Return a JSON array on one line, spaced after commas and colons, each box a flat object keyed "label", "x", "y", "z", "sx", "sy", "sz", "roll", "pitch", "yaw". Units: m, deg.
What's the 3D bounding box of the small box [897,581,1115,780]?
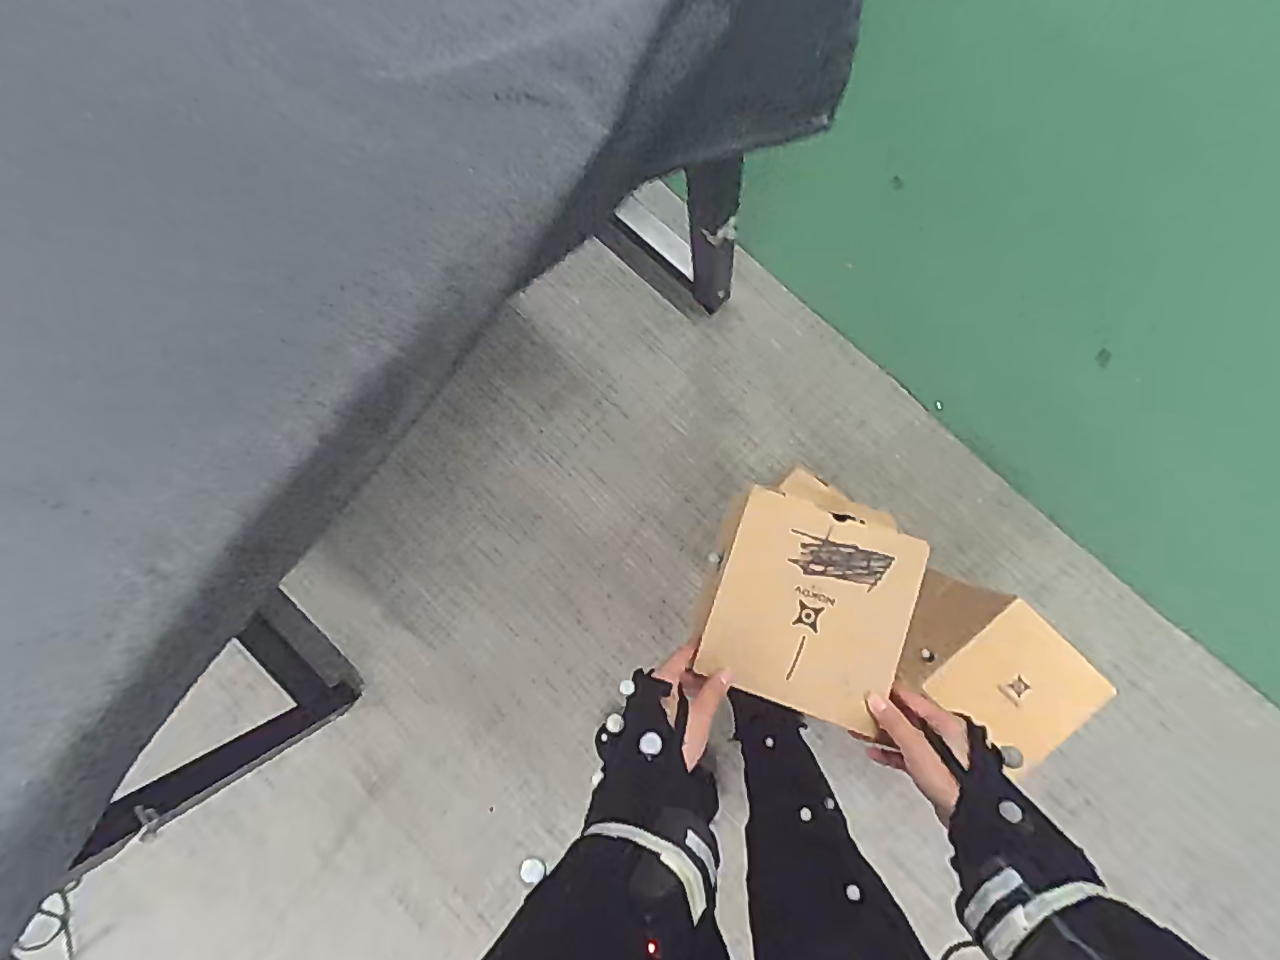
[{"label": "small box", "x": 0.484, "y": 0.264, "z": 0.762, "sx": 0.179, "sy": 0.176, "sz": 0.168, "roll": -45, "pitch": 85, "yaw": 4}]

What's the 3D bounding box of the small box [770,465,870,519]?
[{"label": "small box", "x": 0.277, "y": 0.091, "z": 0.957, "sx": 0.168, "sy": 0.176, "sz": 0.179, "roll": 40, "pitch": 94, "yaw": 7}]

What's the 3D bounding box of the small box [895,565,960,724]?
[{"label": "small box", "x": 0.500, "y": 0.267, "z": 0.925, "sx": 0.168, "sy": 0.176, "sz": 0.179, "roll": 45, "pitch": 95, "yaw": 5}]

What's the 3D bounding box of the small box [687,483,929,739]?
[{"label": "small box", "x": 0.149, "y": 0.119, "z": 0.540, "sx": 0.168, "sy": 0.176, "sz": 0.179, "roll": 18, "pitch": 84, "yaw": 5}]
